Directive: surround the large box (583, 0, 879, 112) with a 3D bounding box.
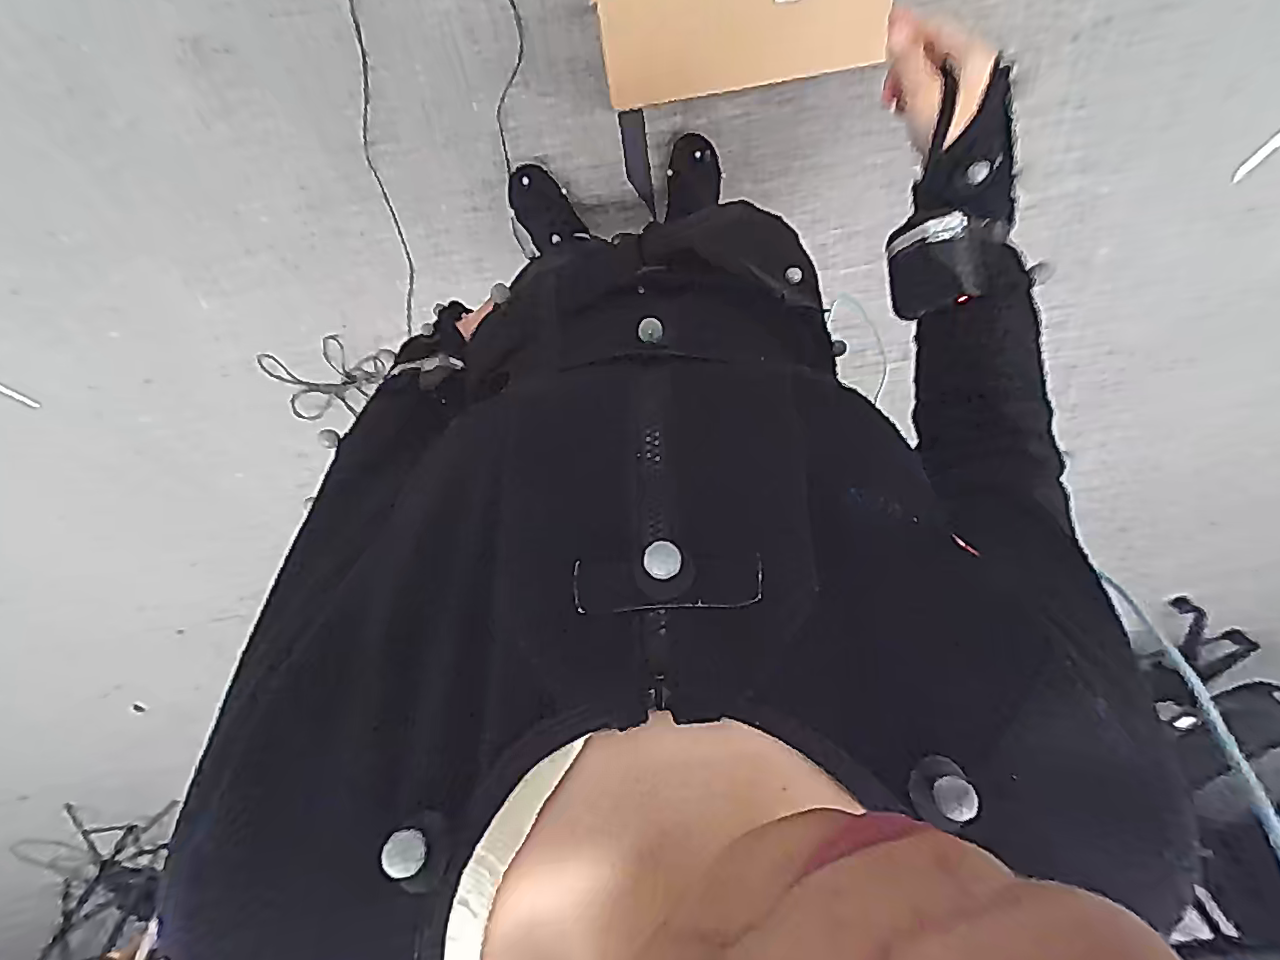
[{"bbox_3d":[0.110,-0.782,0.823,0.408,0.320,0.320,-9,125,2],"label":"large box"}]
